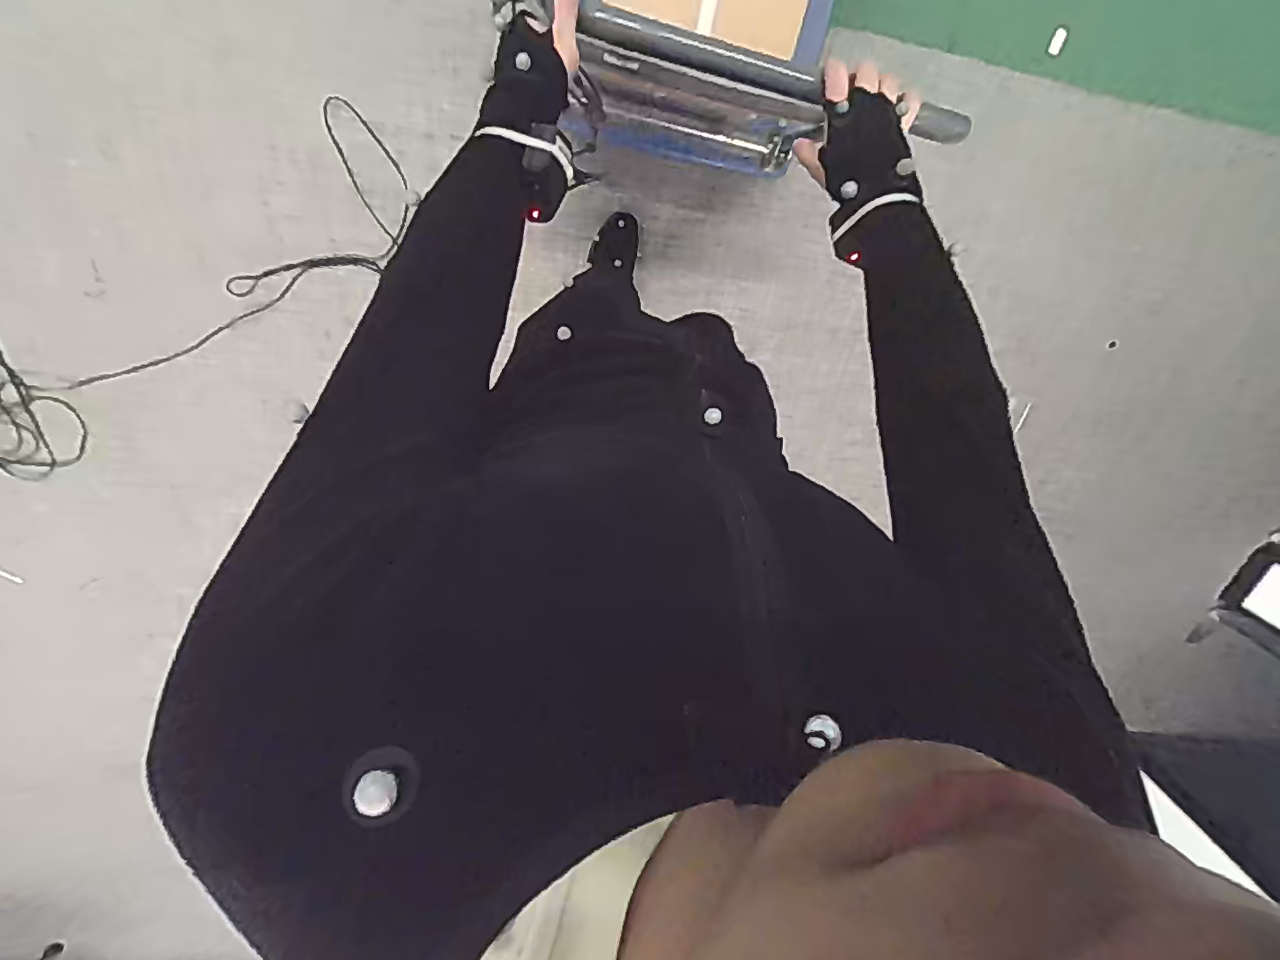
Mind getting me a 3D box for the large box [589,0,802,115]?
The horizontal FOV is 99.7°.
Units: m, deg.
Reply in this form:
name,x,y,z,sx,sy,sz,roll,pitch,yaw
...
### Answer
name,x,y,z,sx,sy,sz,roll,pitch,yaw
large box,0.098,-0.898,0.905,0.320,0.320,0.408,7,115,-13
